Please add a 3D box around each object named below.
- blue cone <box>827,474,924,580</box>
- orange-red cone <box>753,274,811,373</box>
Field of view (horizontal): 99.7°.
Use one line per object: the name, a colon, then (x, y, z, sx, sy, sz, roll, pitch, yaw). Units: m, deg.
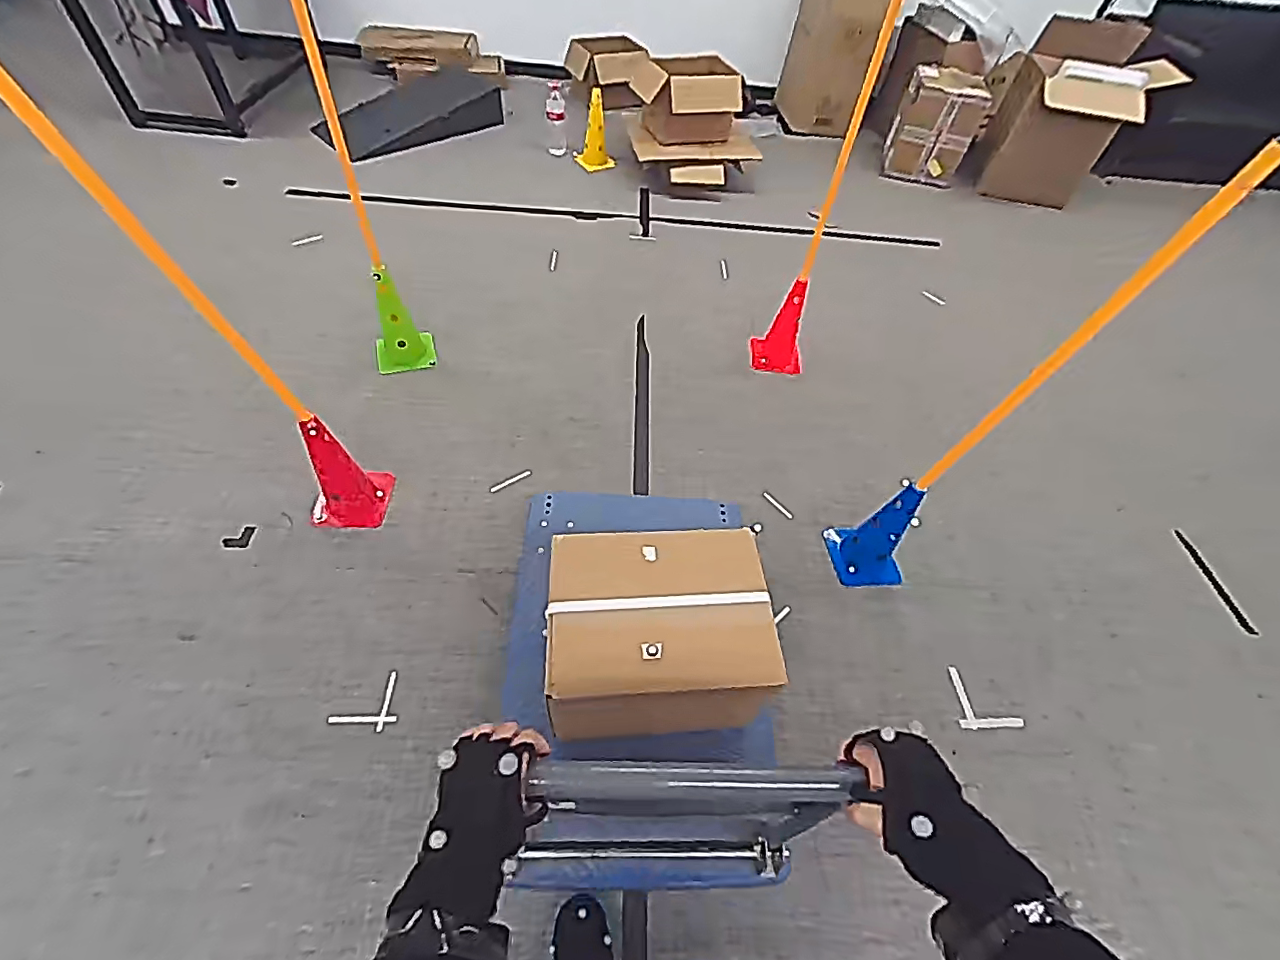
blue cone: (0.699, 0.120, 1.527, 0.193, 0.380, 0.192, 0, 52, -7)
orange-red cone: (0.574, -0.614, 2.053, 0.199, 0.360, 0.198, 9, 53, -1)
